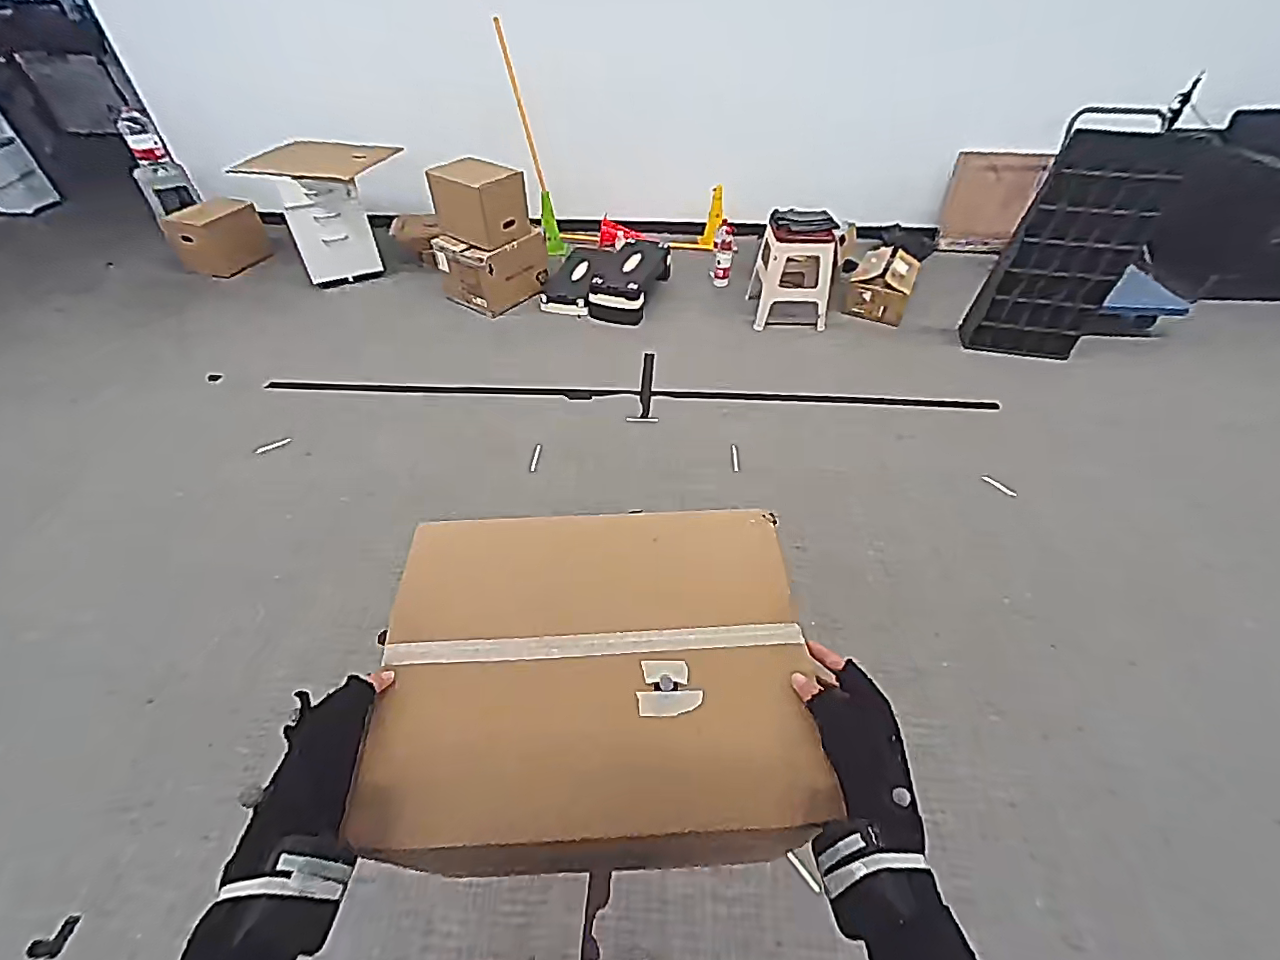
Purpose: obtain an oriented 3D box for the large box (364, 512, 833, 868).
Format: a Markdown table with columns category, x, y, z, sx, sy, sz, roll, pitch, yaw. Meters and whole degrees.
| category | x | y | z | sx | sy | sz | roll | pitch | yaw |
| --- | --- | --- | --- | --- | --- | --- | --- | --- | --- |
| large box | -0.042 | 0.259 | 0.659 | 0.408 | 0.320 | 0.320 | -2 | 52 | -2 |
